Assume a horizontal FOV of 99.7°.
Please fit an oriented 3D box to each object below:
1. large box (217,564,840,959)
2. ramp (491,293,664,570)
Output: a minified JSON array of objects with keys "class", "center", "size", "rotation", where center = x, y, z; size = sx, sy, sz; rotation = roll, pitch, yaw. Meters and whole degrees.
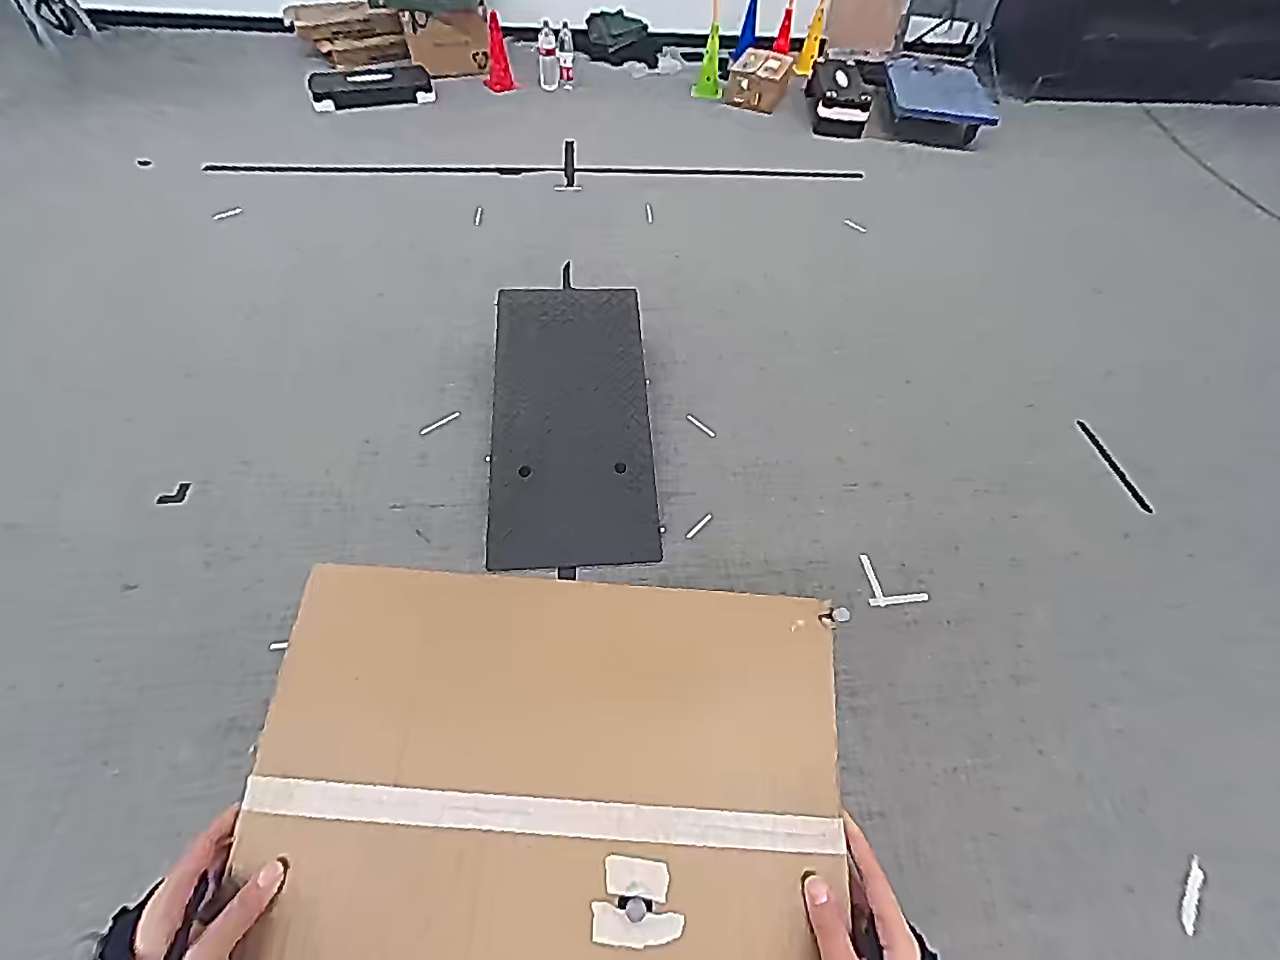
[{"class":"large box","center":[-0.067,0.274,0.516],"size":[0.408,0.320,0.320],"rotation":[4,70,1]},{"class":"ramp","center":[-0.203,-0.210,1.720],"size":[0.509,0.206,0.991],"rotation":[-3,55,-7]}]
